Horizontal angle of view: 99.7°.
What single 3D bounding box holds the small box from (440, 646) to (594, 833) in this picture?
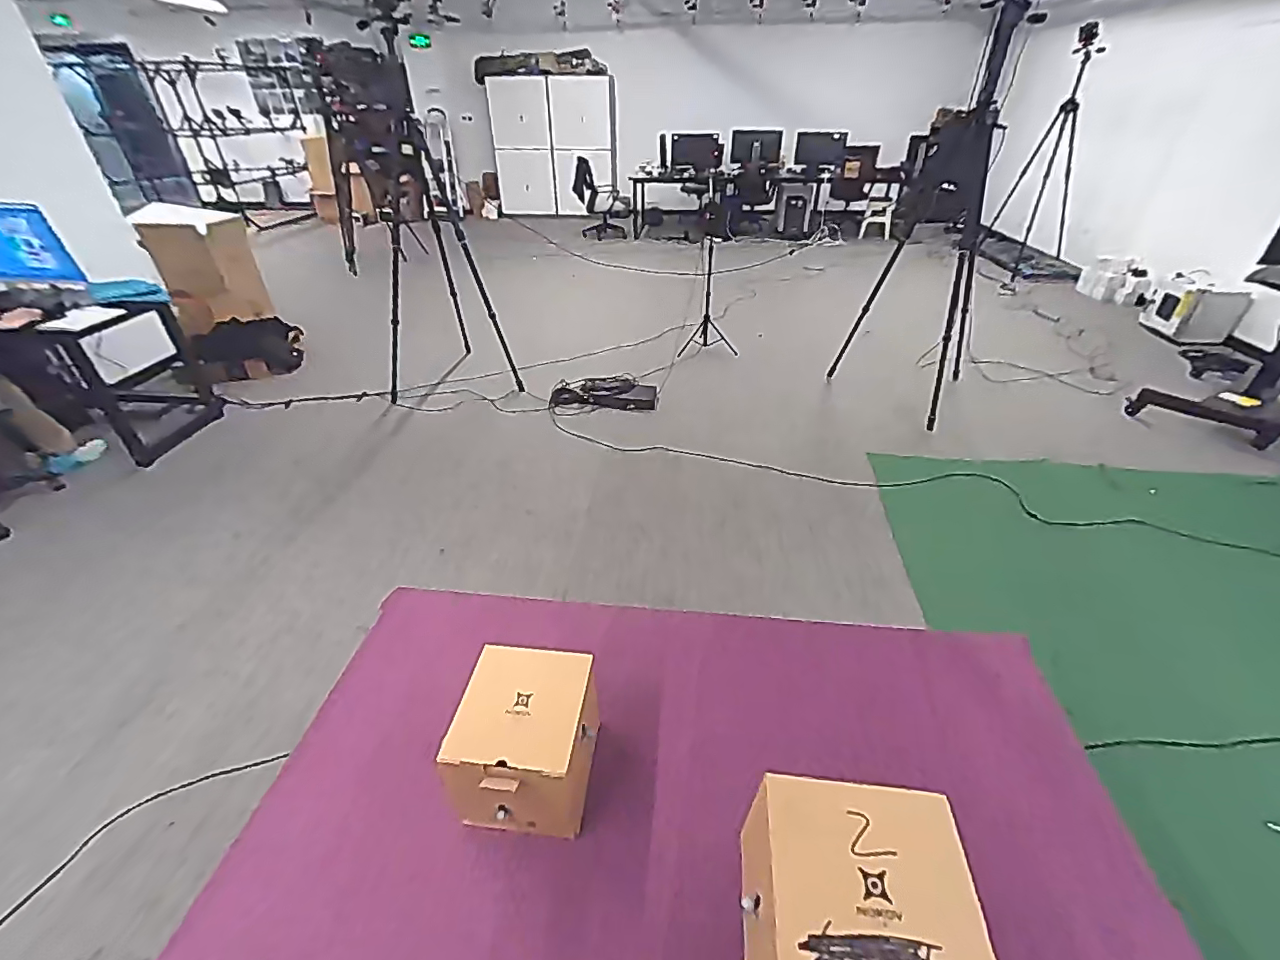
[{"bbox_3d":[-0.162,0.370,0.781,0.168,0.176,0.179,4,36,6],"label":"small box"}]
